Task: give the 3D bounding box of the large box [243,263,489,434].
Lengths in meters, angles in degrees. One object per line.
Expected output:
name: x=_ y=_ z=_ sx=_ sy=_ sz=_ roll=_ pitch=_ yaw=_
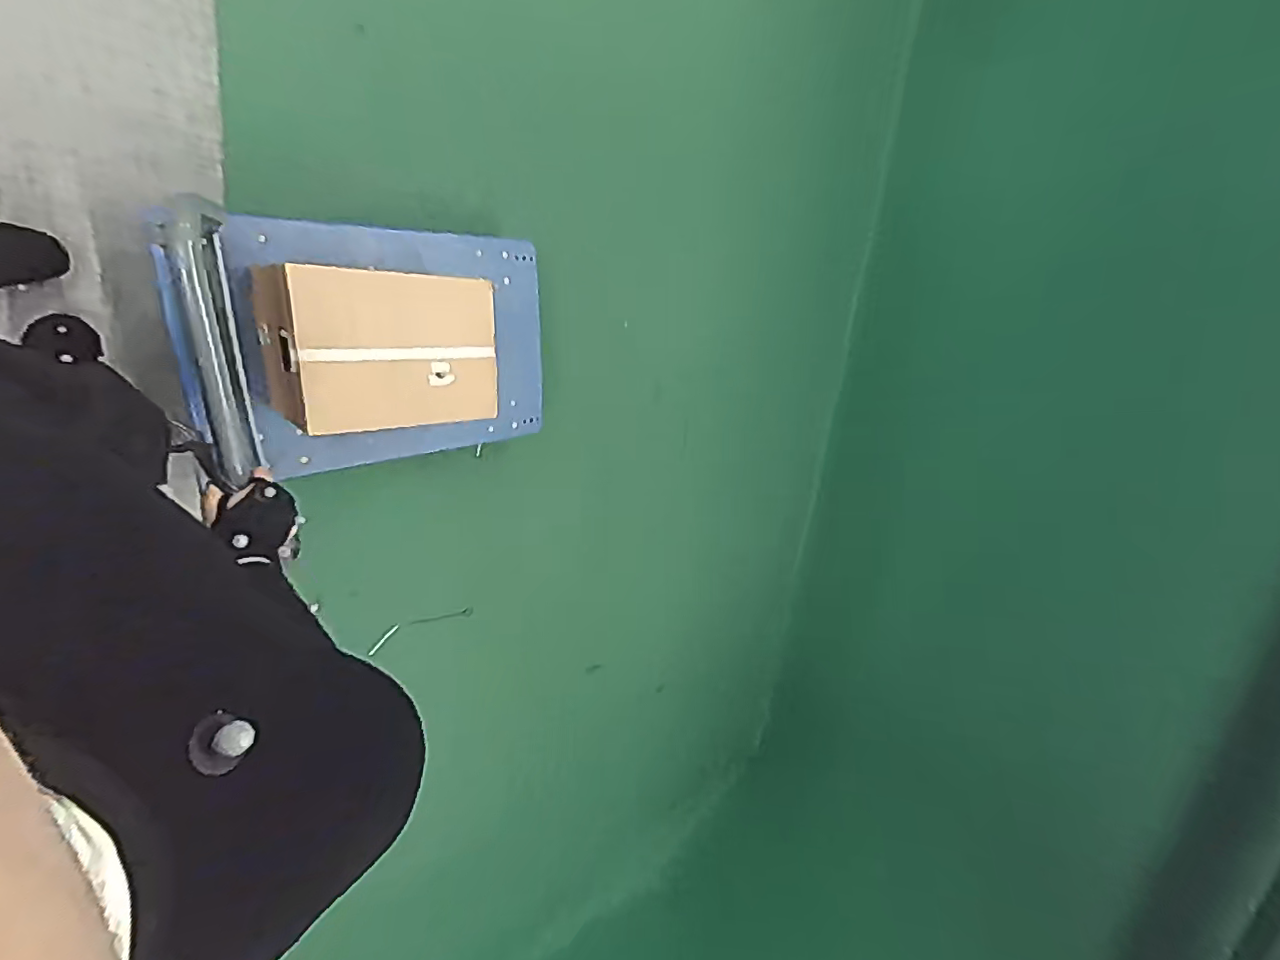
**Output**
large box: x=-0.602 y=-0.302 z=1.218 sx=0.408 sy=0.320 sz=0.320 roll=-13 pitch=114 yaw=-43
